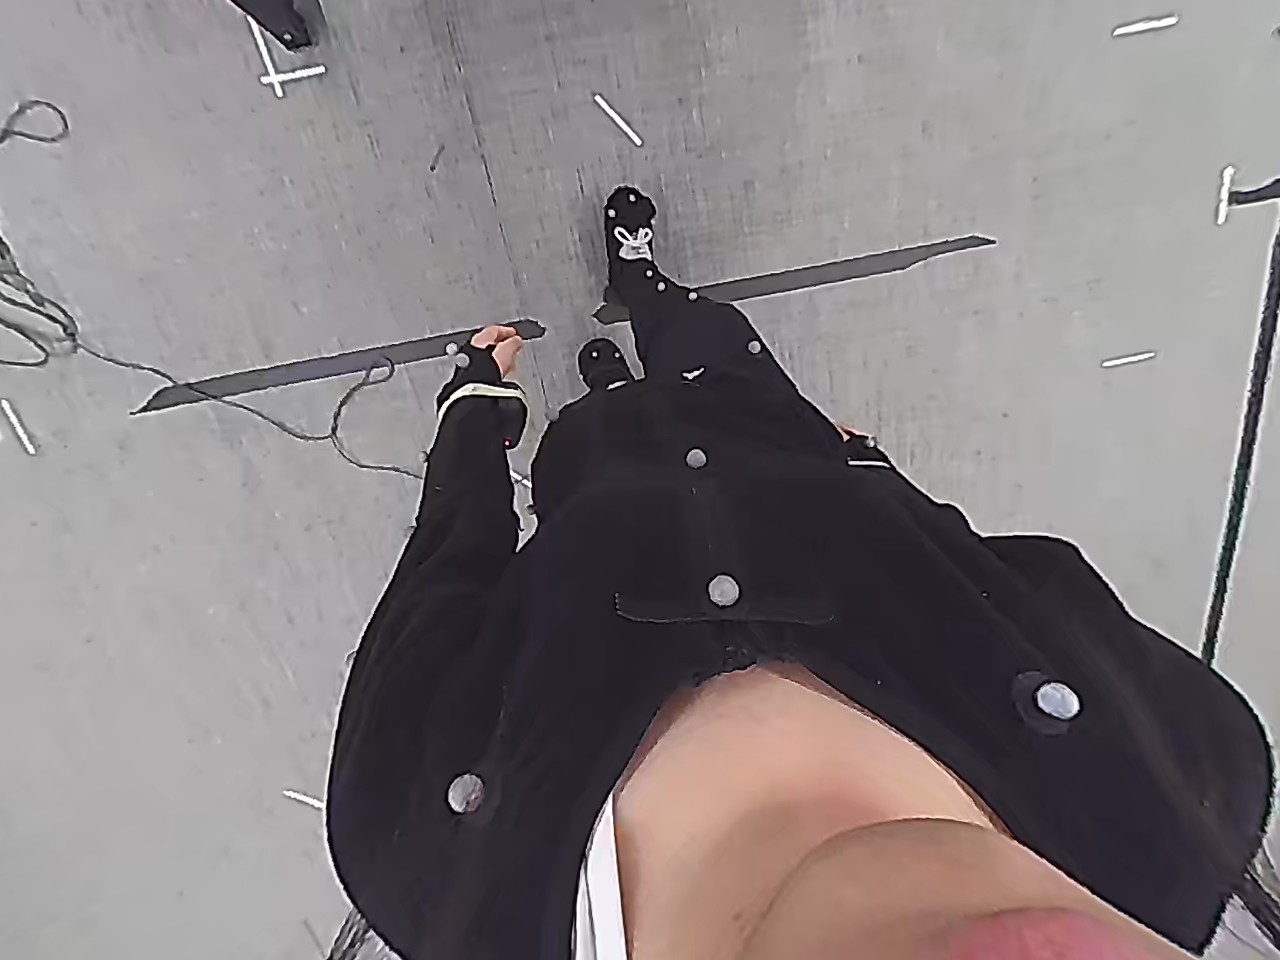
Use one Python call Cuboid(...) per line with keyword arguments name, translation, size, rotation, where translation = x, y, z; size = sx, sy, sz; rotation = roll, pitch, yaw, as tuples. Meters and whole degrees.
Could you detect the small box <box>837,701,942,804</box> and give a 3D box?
Cuboid(name="small box", translation=(0.698, 0.765, 1.537), size=(0.179, 0.176, 0.168), rotation=(37, 102, -16))
